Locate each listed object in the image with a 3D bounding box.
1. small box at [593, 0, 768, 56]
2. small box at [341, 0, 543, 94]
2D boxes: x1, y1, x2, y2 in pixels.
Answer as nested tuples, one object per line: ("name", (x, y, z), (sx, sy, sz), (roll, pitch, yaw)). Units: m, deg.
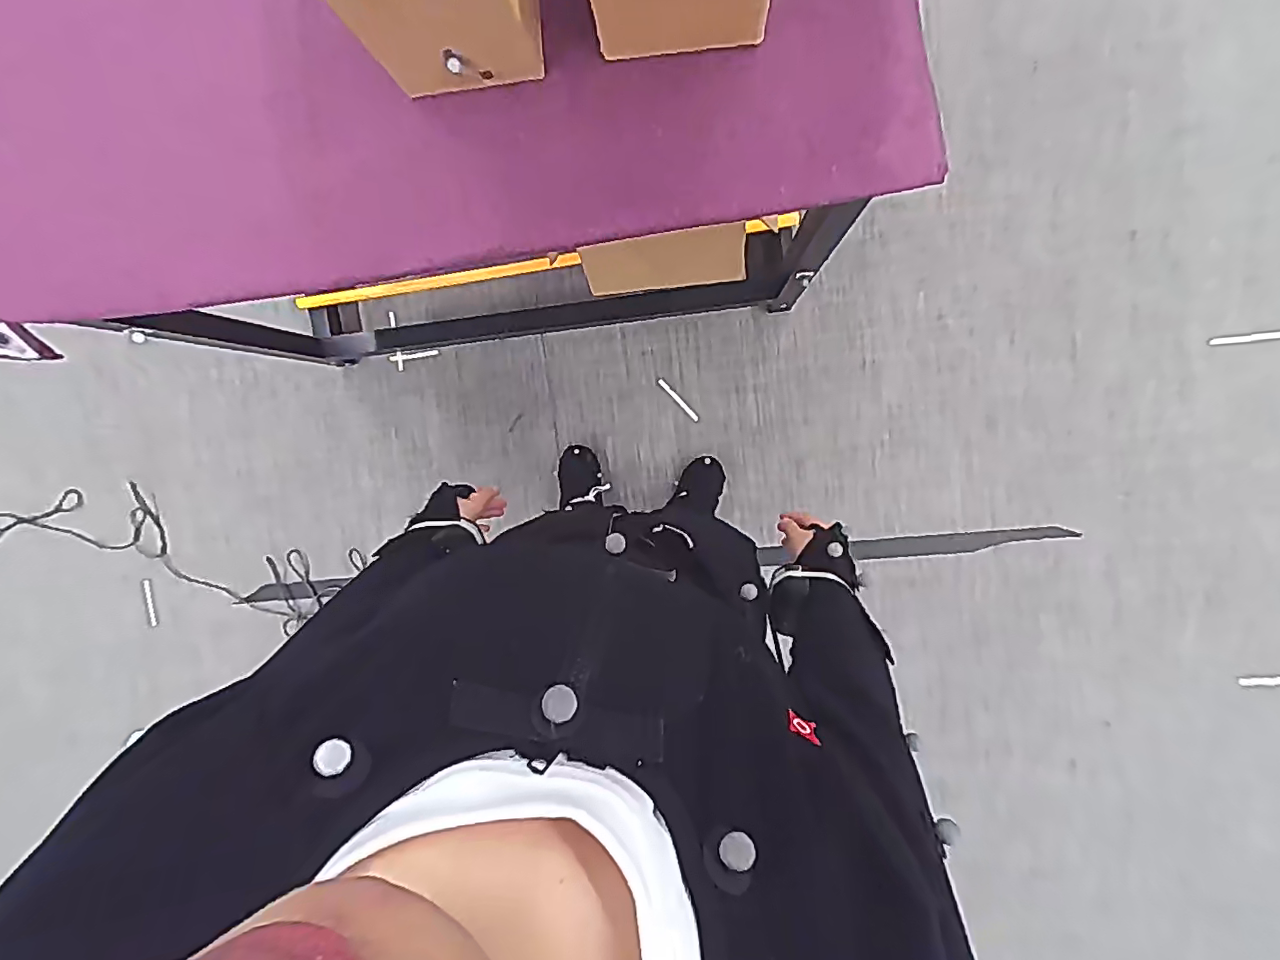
("small box", (0.038, -0.542, 0.505), (0.179, 0.176, 0.168), (-1, 94, 7))
("small box", (-0.201, -0.527, 0.530), (0.168, 0.176, 0.179), (-3, 95, 7))
